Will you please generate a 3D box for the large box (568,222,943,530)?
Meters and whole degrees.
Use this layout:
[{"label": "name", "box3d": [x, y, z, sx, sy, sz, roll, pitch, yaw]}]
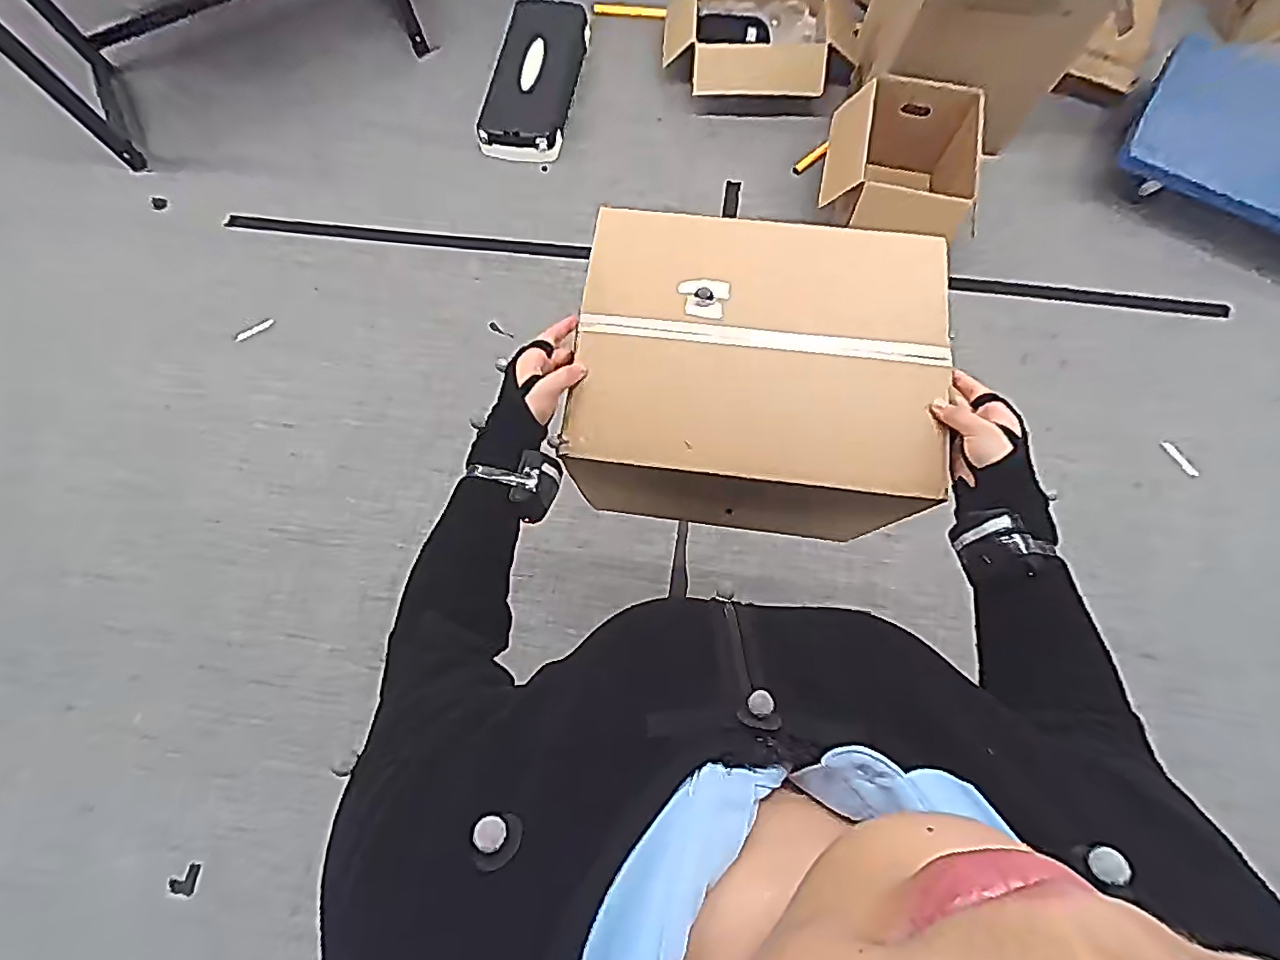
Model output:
[{"label": "large box", "box3d": [0.141, -0.116, 0.753, 0.408, 0.320, 0.320, 6, 75, 4]}]
